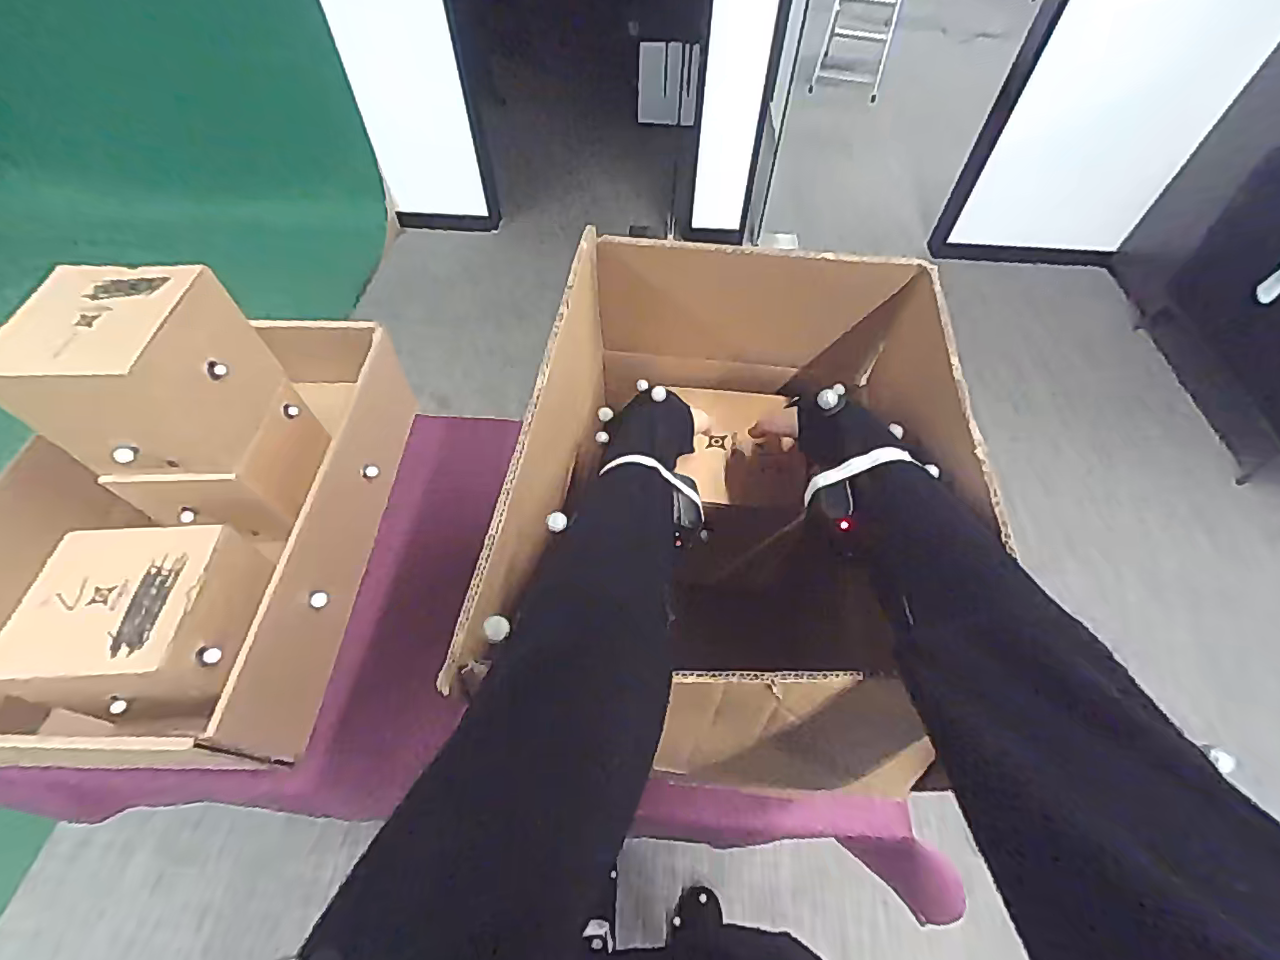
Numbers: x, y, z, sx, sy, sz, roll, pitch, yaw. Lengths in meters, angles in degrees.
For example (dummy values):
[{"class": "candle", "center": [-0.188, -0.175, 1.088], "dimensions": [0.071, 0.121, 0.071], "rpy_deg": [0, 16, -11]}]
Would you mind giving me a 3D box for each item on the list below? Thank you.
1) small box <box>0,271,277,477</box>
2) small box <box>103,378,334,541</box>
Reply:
[{"class": "small box", "center": [-0.569, -0.120, 0.632], "dimensions": [0.168, 0.176, 0.179], "rpy_deg": [-1, 57, 0]}, {"class": "small box", "center": [-0.569, -0.021, 0.763], "dimensions": [0.168, 0.176, 0.179], "rpy_deg": [-2, 55, -1]}]
